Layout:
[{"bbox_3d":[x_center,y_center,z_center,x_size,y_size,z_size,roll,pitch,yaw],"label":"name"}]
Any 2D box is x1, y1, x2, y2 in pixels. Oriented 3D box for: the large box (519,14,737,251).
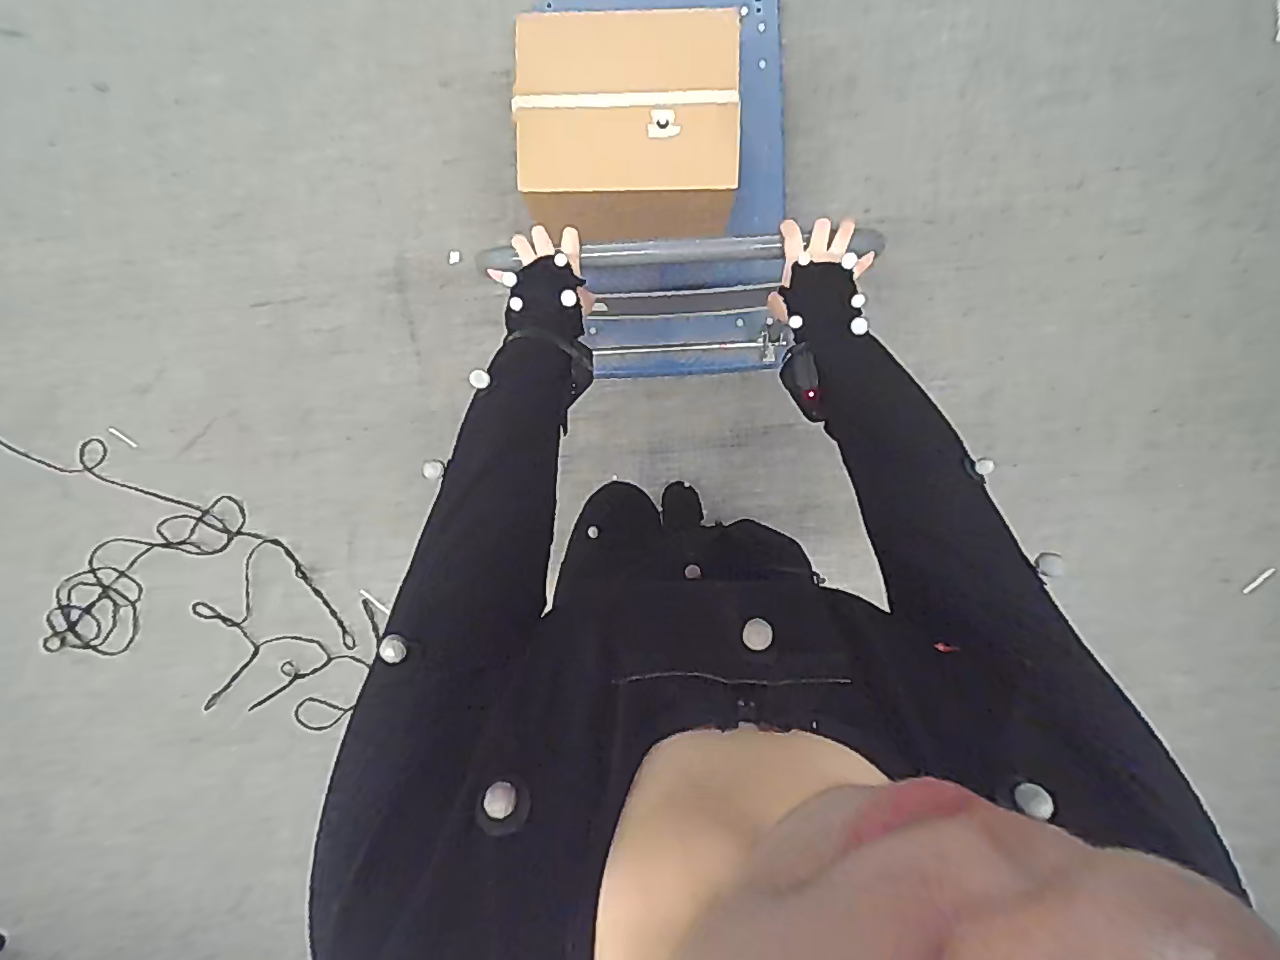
[{"bbox_3d":[-0.020,-0.698,1.141,0.408,0.320,0.320,0,93,1],"label":"large box"}]
